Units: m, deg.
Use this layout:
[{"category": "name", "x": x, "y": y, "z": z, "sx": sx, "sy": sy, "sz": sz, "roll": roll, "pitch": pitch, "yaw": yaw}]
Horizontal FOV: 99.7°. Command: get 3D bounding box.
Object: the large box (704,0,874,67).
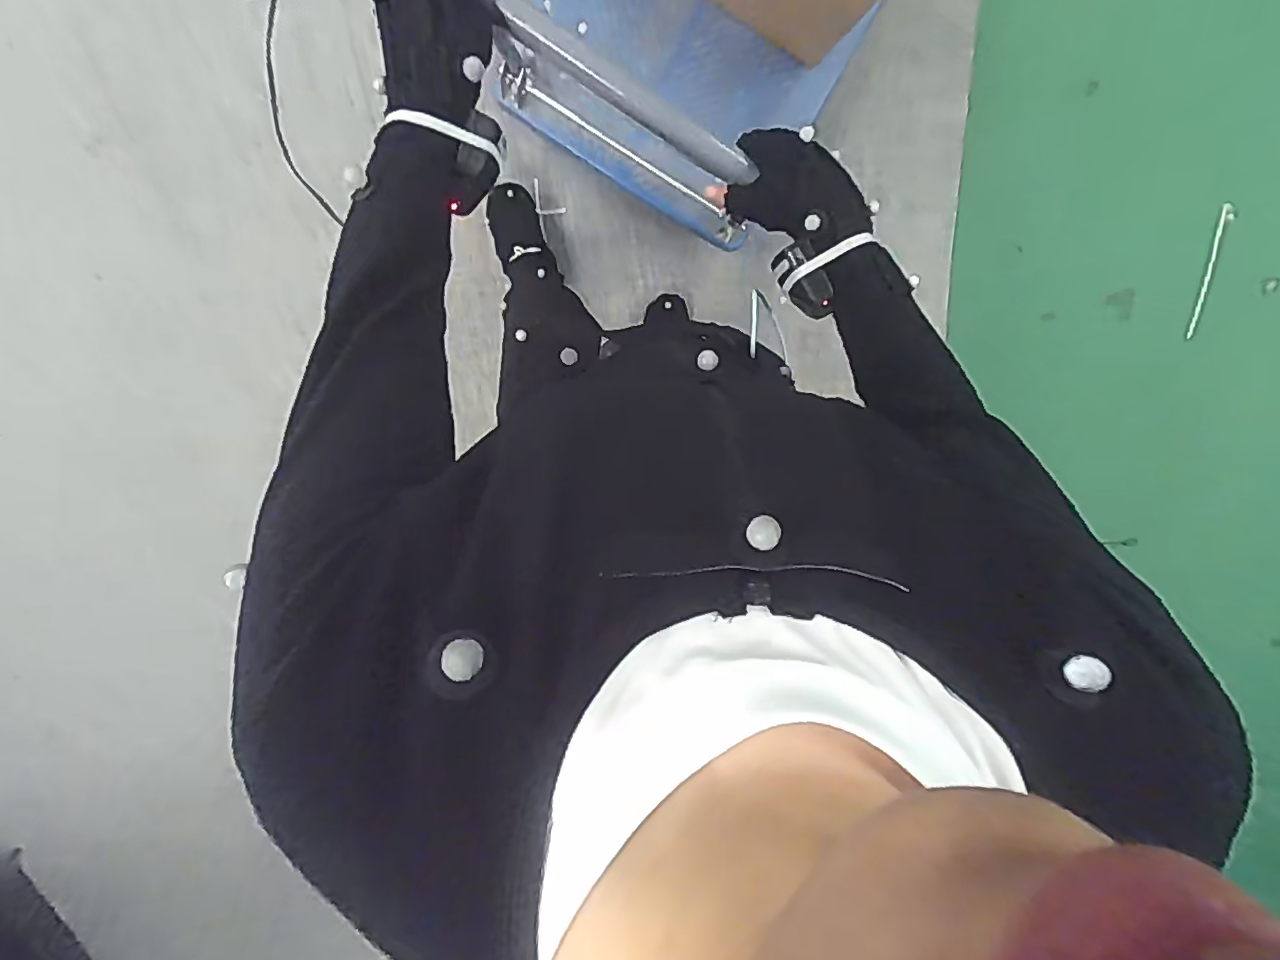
[{"category": "large box", "x": 0.222, "y": -0.939, "z": 0.818, "sx": 0.408, "sy": 0.320, "sz": 0.320, "roll": 25, "pitch": 107, "yaw": -11}]
